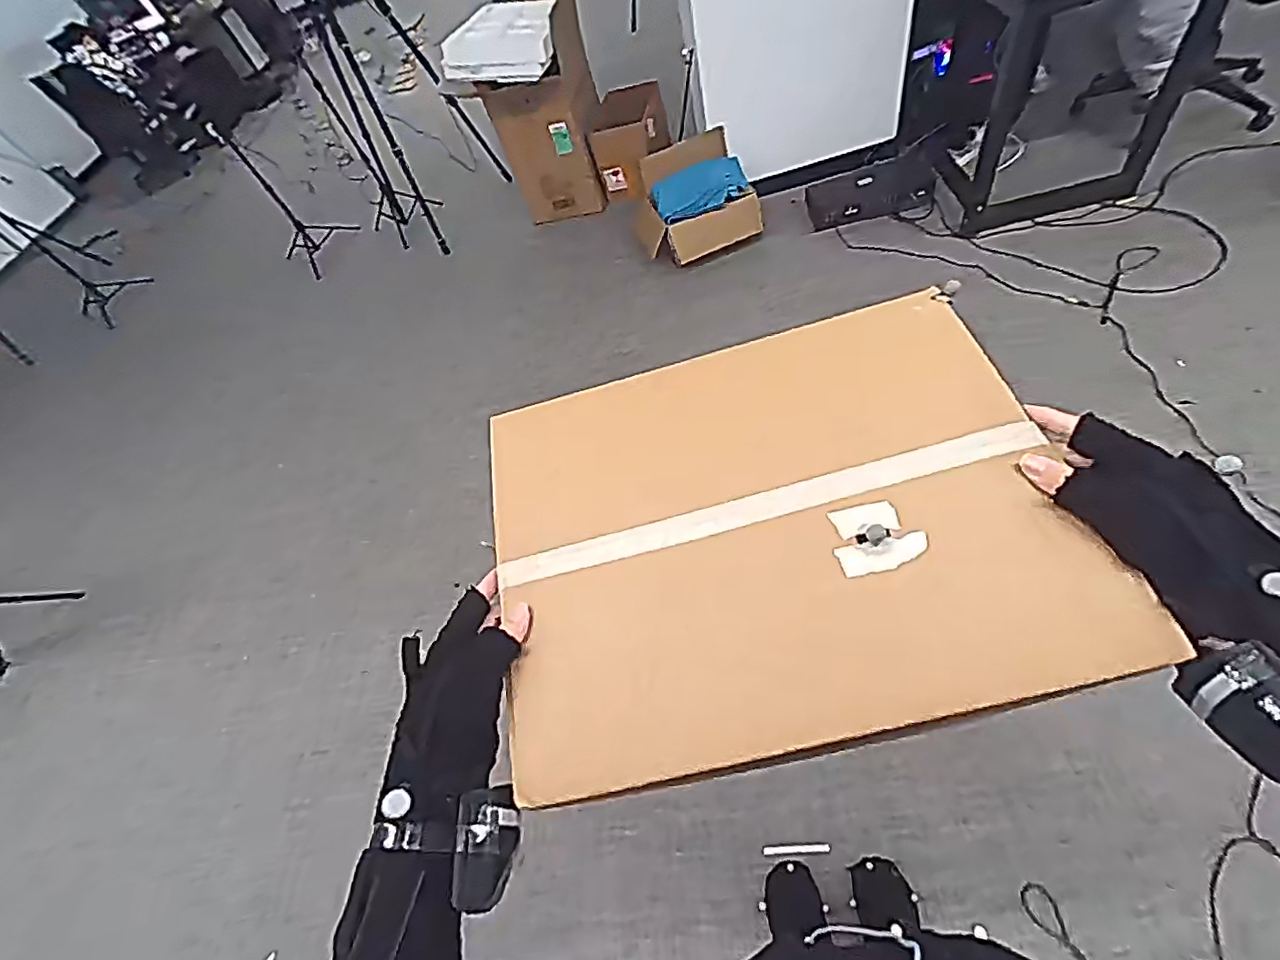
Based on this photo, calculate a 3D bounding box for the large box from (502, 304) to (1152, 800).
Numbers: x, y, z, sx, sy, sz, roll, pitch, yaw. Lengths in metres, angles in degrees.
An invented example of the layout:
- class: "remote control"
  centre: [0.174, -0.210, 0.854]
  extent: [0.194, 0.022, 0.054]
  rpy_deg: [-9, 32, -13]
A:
- class: "large box"
  centre: [0.120, 0.096, 0.540]
  extent: [0.408, 0.320, 0.320]
  rpy_deg: [-16, 60, 4]
